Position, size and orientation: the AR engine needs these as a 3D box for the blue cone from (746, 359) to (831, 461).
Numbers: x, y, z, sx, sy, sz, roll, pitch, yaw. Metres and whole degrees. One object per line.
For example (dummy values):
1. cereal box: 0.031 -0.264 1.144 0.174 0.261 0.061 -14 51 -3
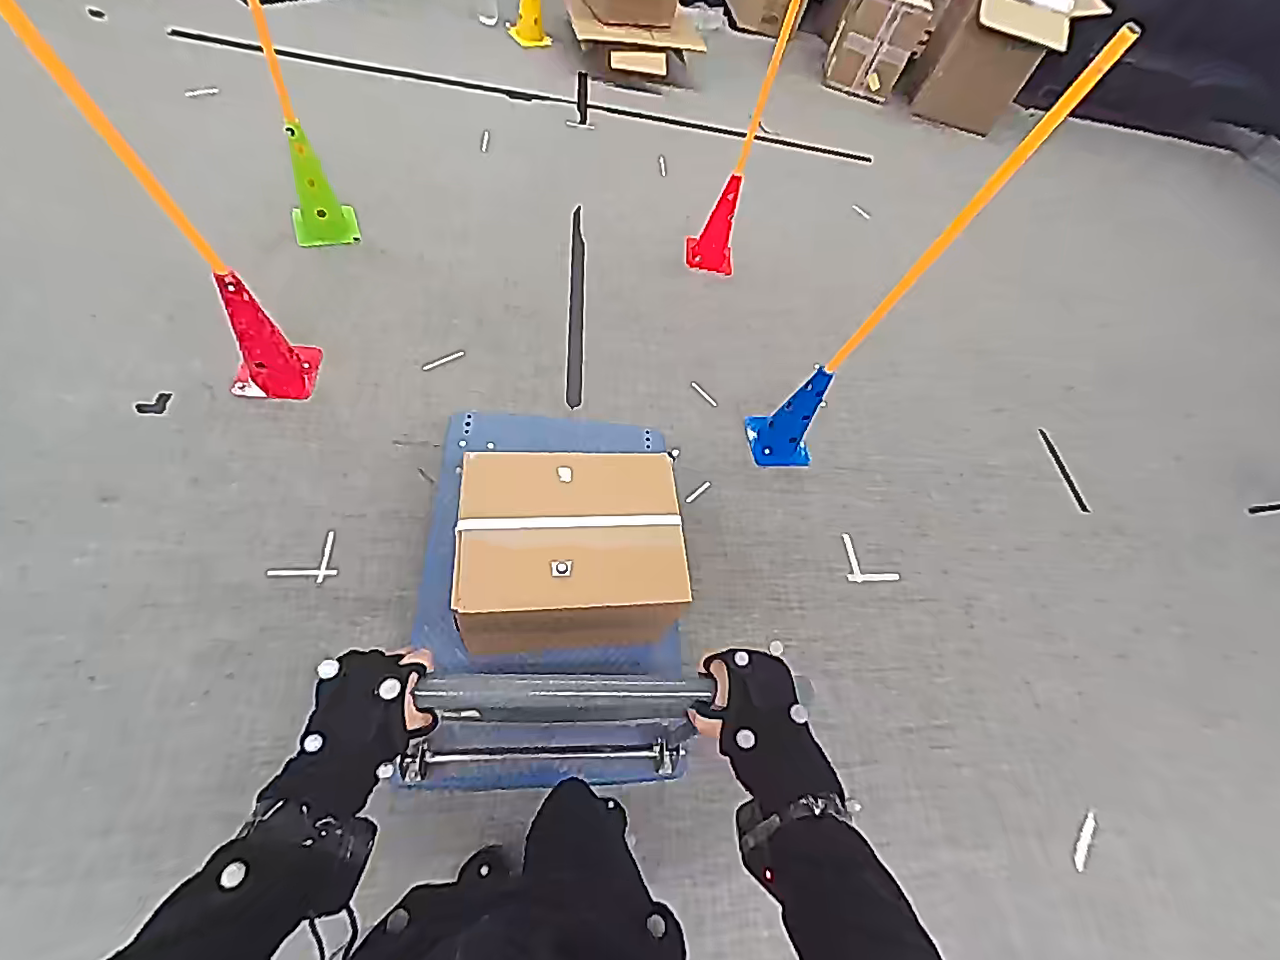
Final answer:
1. blue cone: 0.494 -0.227 1.683 0.193 0.380 0.192 0 59 -14

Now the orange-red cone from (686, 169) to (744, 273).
1. orange-red cone: 0.325 -1.022 2.094 0.199 0.360 0.198 9 59 -9
